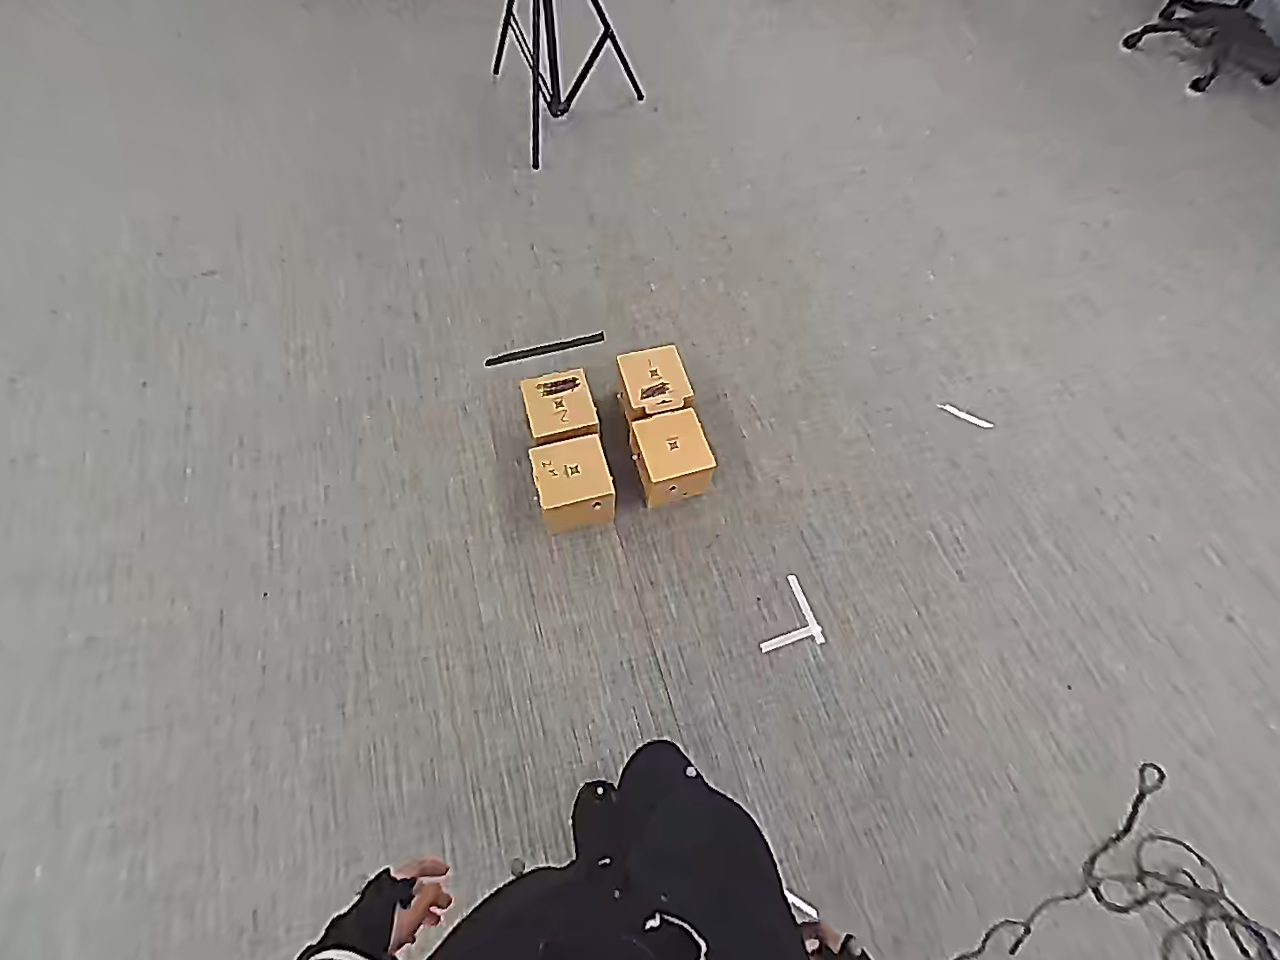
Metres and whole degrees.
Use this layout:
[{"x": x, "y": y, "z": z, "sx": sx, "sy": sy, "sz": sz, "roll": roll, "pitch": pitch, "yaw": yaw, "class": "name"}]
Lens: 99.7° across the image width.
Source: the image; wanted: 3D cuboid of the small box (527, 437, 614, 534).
[{"x": -0.170, "y": 0.018, "z": 1.340, "sx": 0.179, "sy": 0.176, "sz": 0.168, "roll": -14, "pitch": 67, "yaw": -9, "class": "small box"}]
